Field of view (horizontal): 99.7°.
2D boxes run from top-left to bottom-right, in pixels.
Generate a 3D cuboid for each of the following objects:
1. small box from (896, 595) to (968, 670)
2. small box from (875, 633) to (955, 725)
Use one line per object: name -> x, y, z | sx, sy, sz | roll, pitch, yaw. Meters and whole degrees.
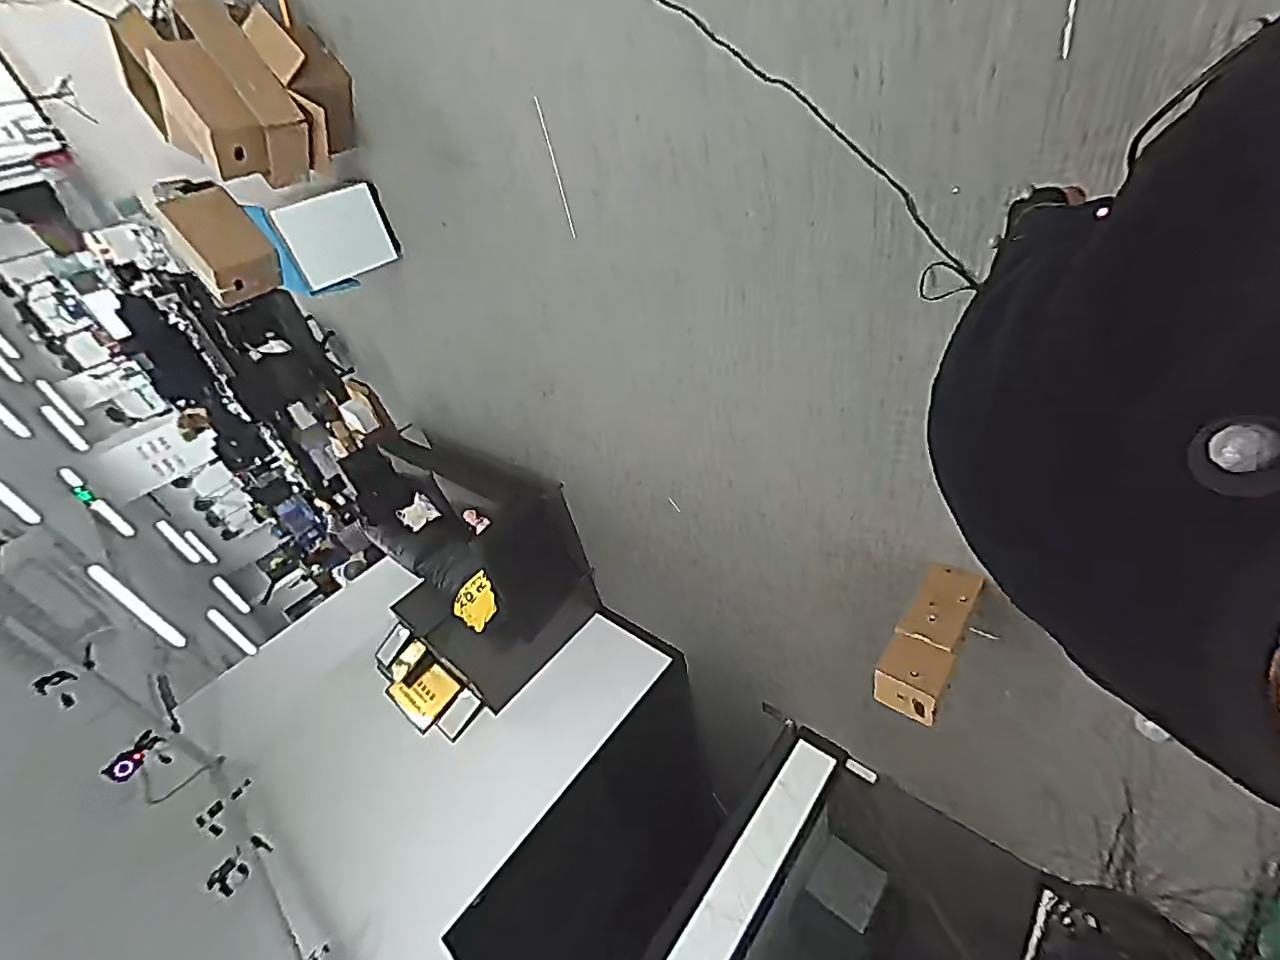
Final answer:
small box -> 0.946, 0.506, 1.755 | 0.168, 0.176, 0.179 | 19, 137, 40
small box -> 0.847, 0.606, 1.669 | 0.179, 0.176, 0.168 | 20, 139, 40
